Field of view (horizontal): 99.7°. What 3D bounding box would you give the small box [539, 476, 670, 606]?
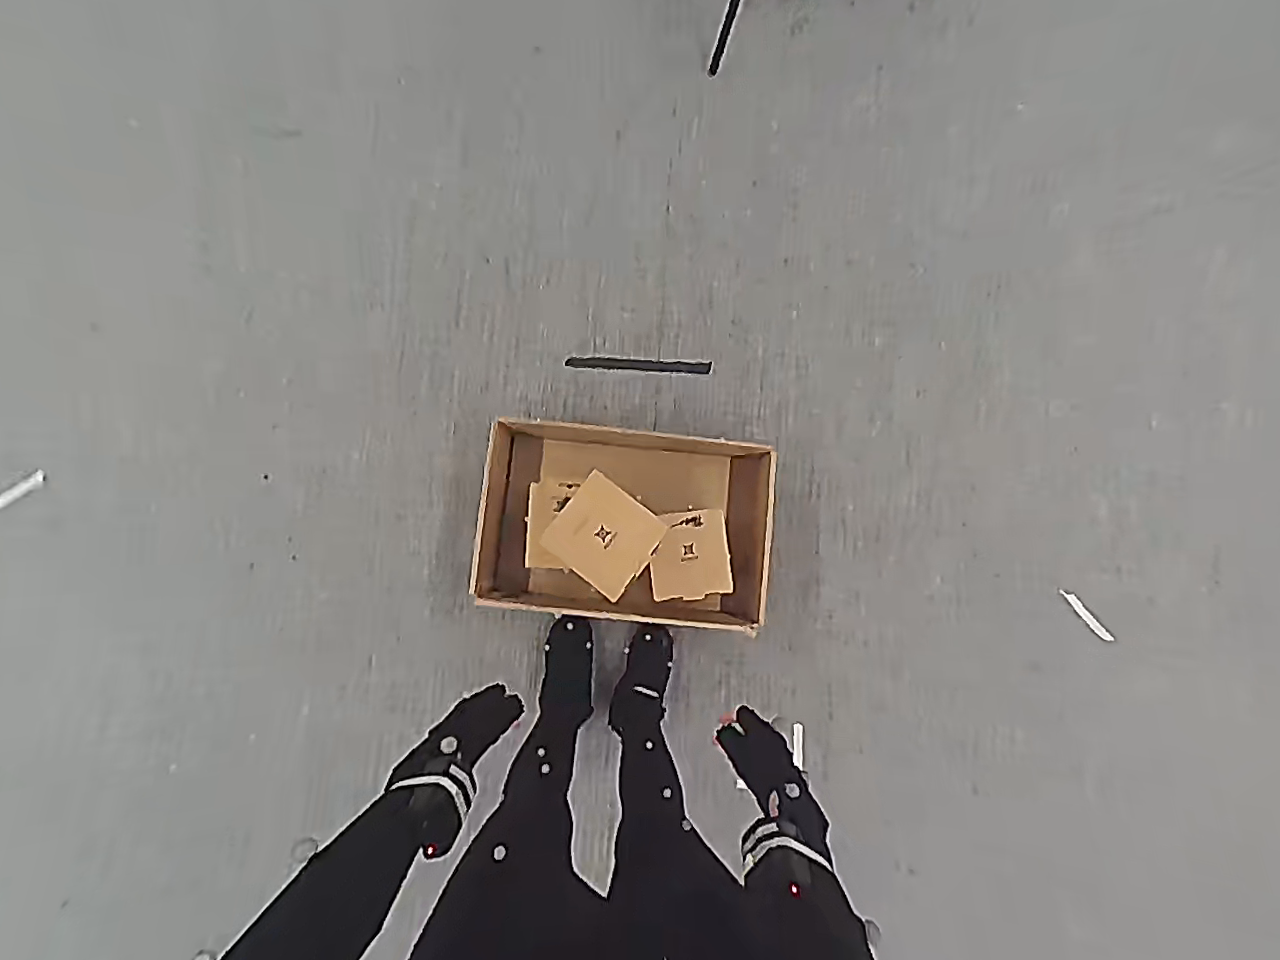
[{"bbox_3d":[-0.063,0.115,1.027,0.179,0.176,0.168,37,82,4],"label":"small box"}]
